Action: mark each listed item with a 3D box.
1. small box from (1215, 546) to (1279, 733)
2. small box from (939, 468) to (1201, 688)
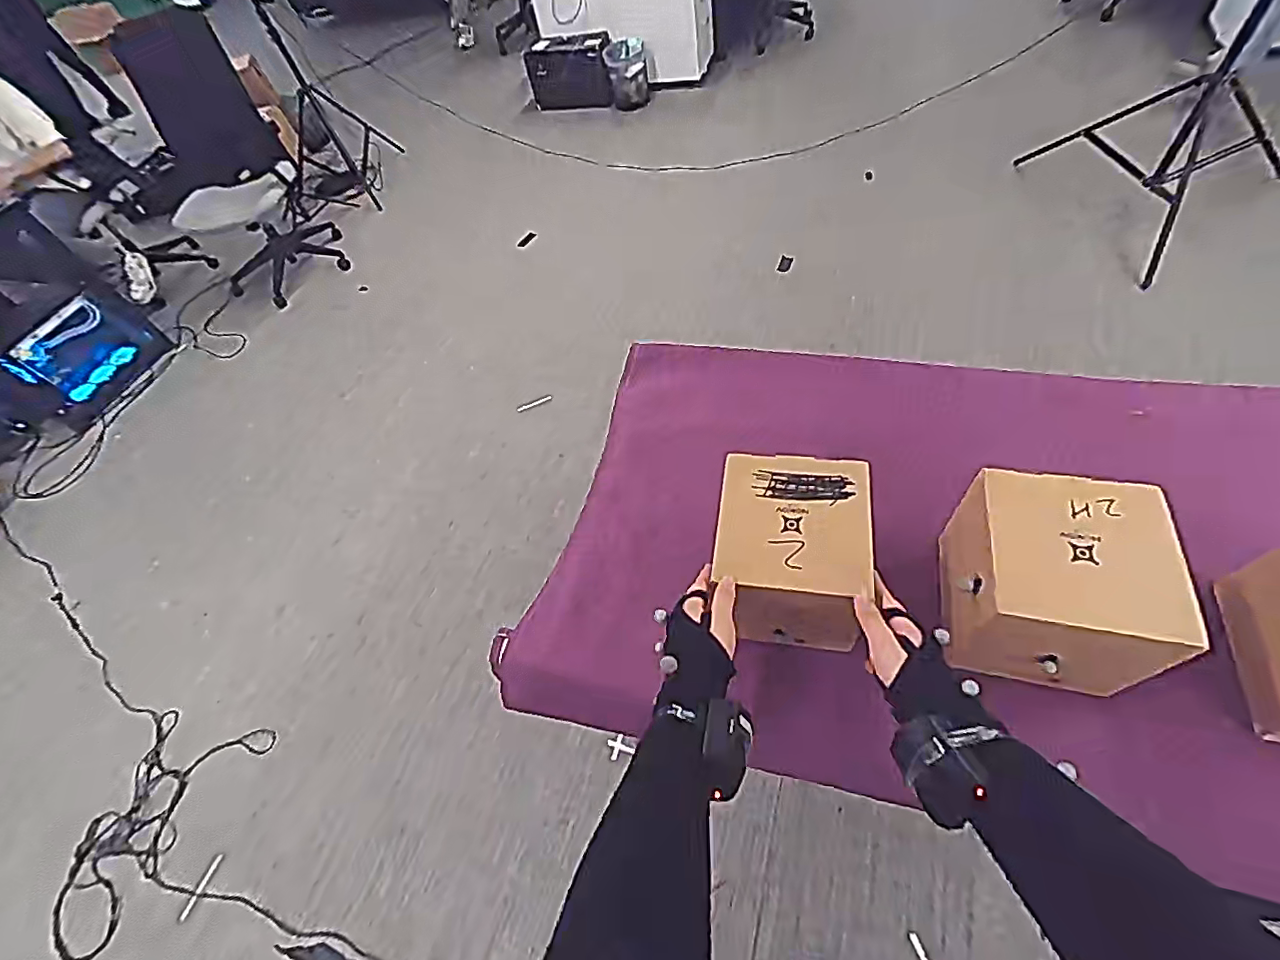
[{"bbox_3d":[0.721,0.163,0.515,0.168,0.176,0.179,8,58,17],"label":"small box"},{"bbox_3d":[0.448,0.112,0.601,0.168,0.176,0.179,8,56,15],"label":"small box"}]
